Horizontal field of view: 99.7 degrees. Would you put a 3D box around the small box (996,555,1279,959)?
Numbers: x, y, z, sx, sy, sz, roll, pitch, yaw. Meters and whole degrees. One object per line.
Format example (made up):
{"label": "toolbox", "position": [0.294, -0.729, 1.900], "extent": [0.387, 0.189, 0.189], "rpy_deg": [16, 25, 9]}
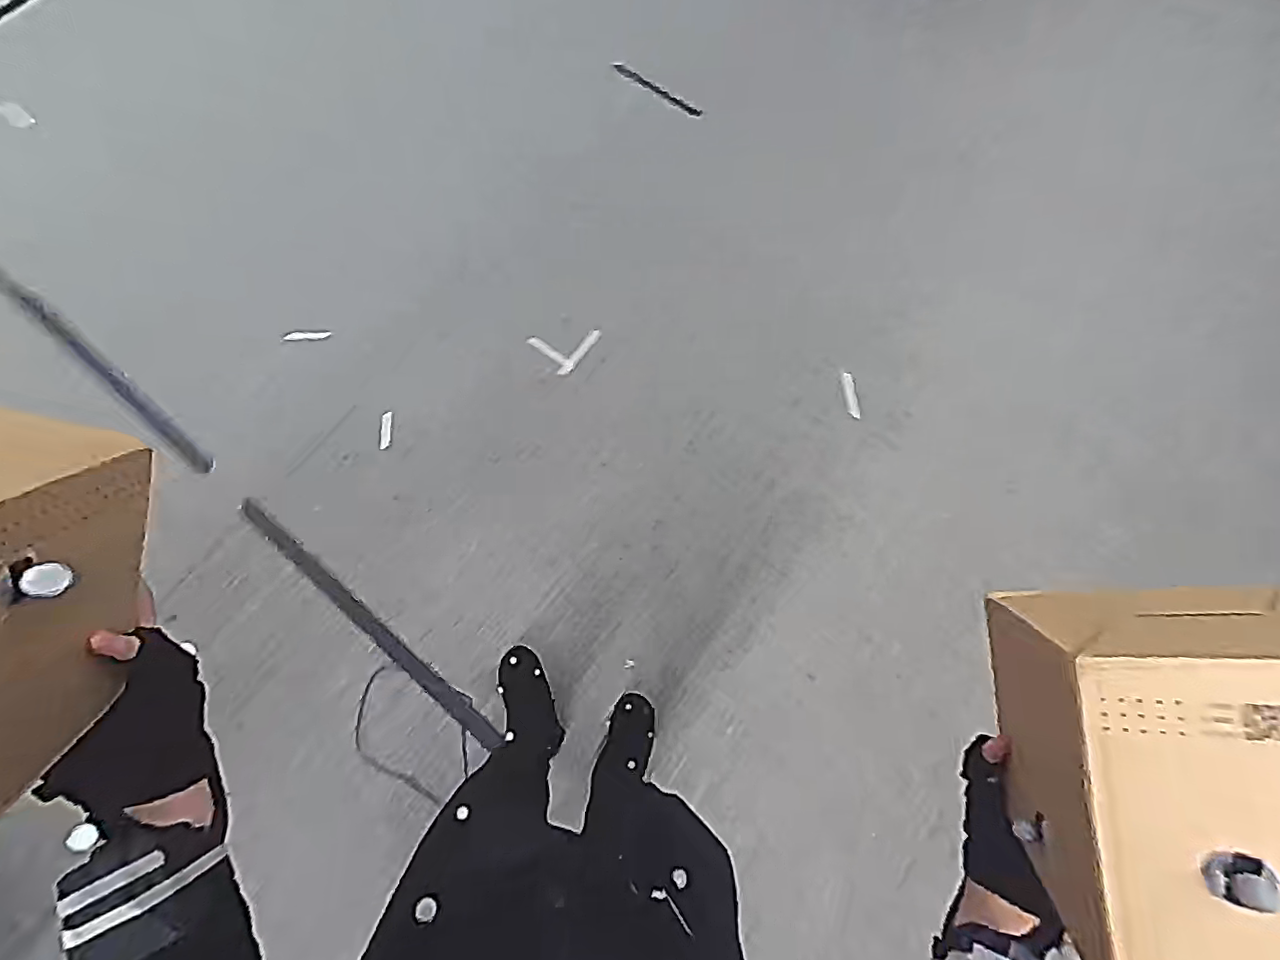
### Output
{"label": "small box", "position": [0.304, 0.137, 0.280], "extent": [0.168, 0.179, 0.176], "rpy_deg": [-6, 87, 21]}

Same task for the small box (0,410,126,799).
{"label": "small box", "position": [-0.348, 0.057, 0.202], "extent": [0.168, 0.179, 0.176], "rpy_deg": [14, 102, -17]}
